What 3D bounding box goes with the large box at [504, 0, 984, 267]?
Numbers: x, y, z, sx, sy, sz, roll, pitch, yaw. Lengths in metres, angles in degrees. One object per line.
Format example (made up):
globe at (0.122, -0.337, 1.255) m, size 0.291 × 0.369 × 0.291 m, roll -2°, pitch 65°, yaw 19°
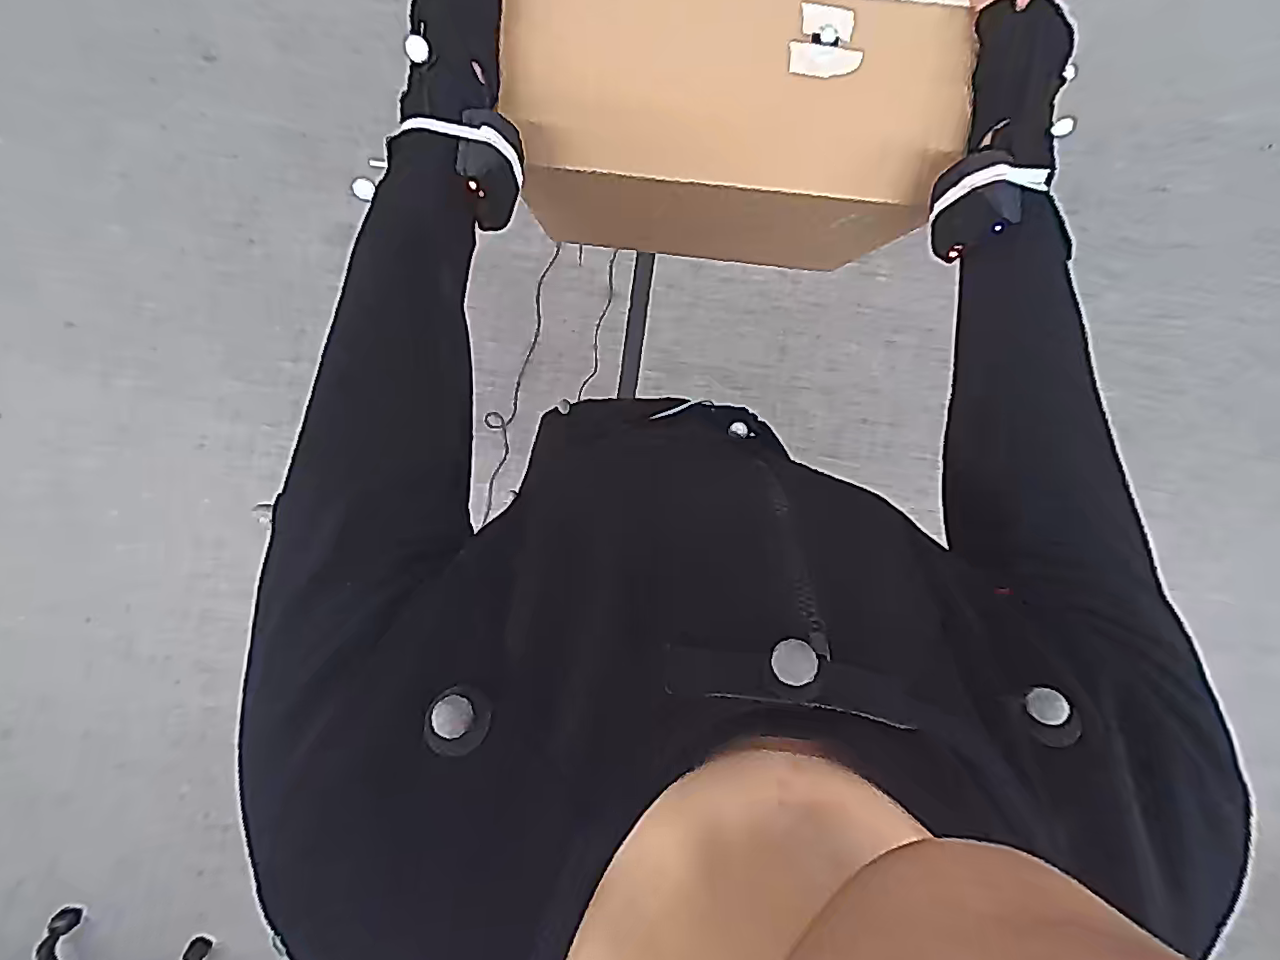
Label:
large box at (0.086, -0.437, 0.594) m, size 0.408 × 0.320 × 0.320 m, roll 5°, pitch 102°, yaw -2°
